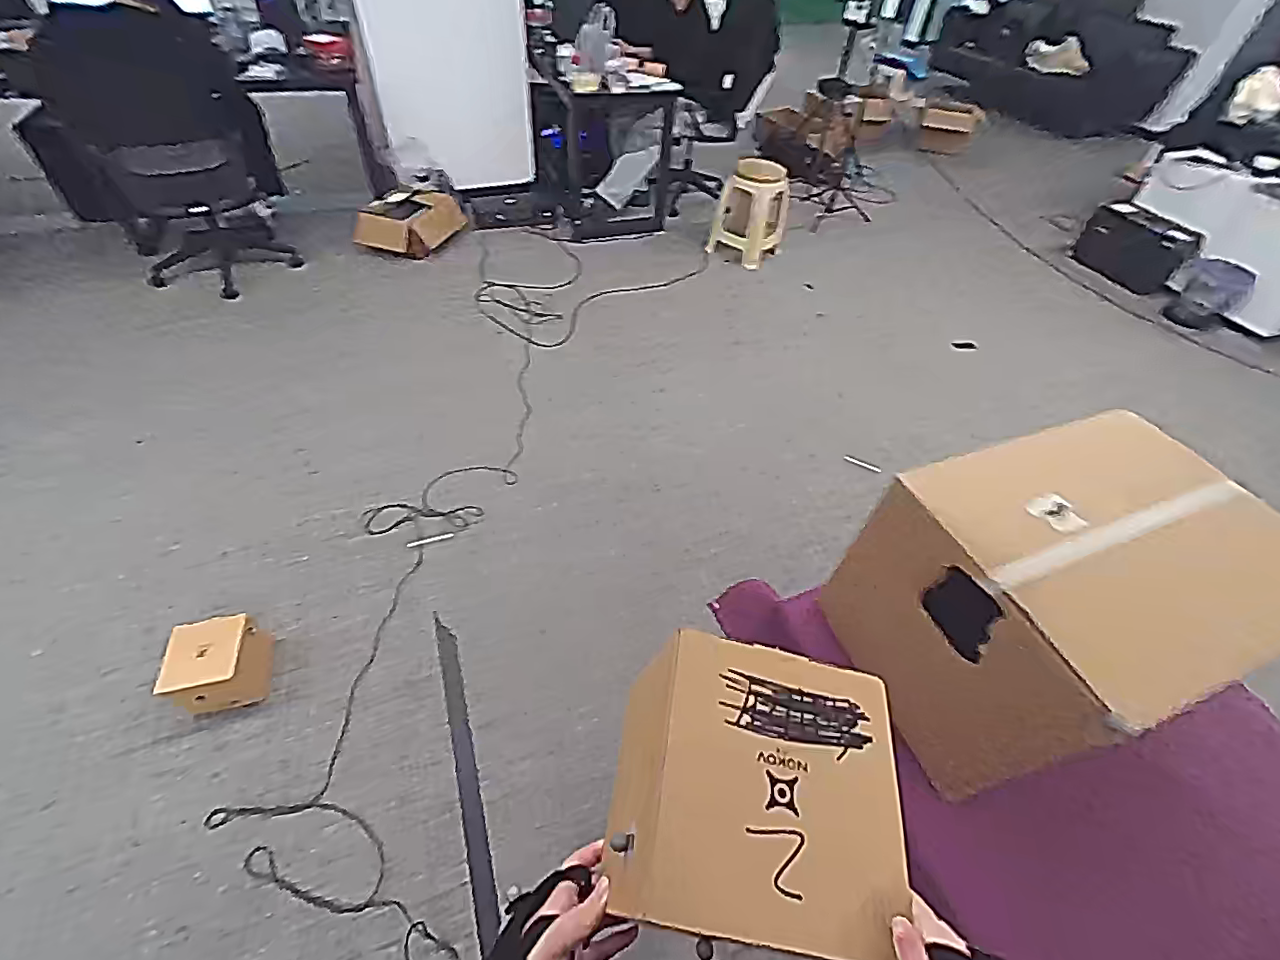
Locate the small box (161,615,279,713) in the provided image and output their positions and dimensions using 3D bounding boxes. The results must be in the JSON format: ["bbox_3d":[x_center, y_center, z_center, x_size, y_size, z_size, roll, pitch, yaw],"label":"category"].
[{"bbox_3d":[-1.057,0.476,1.379,0.168,0.176,0.179,-10,50,-12],"label":"small box"}]
